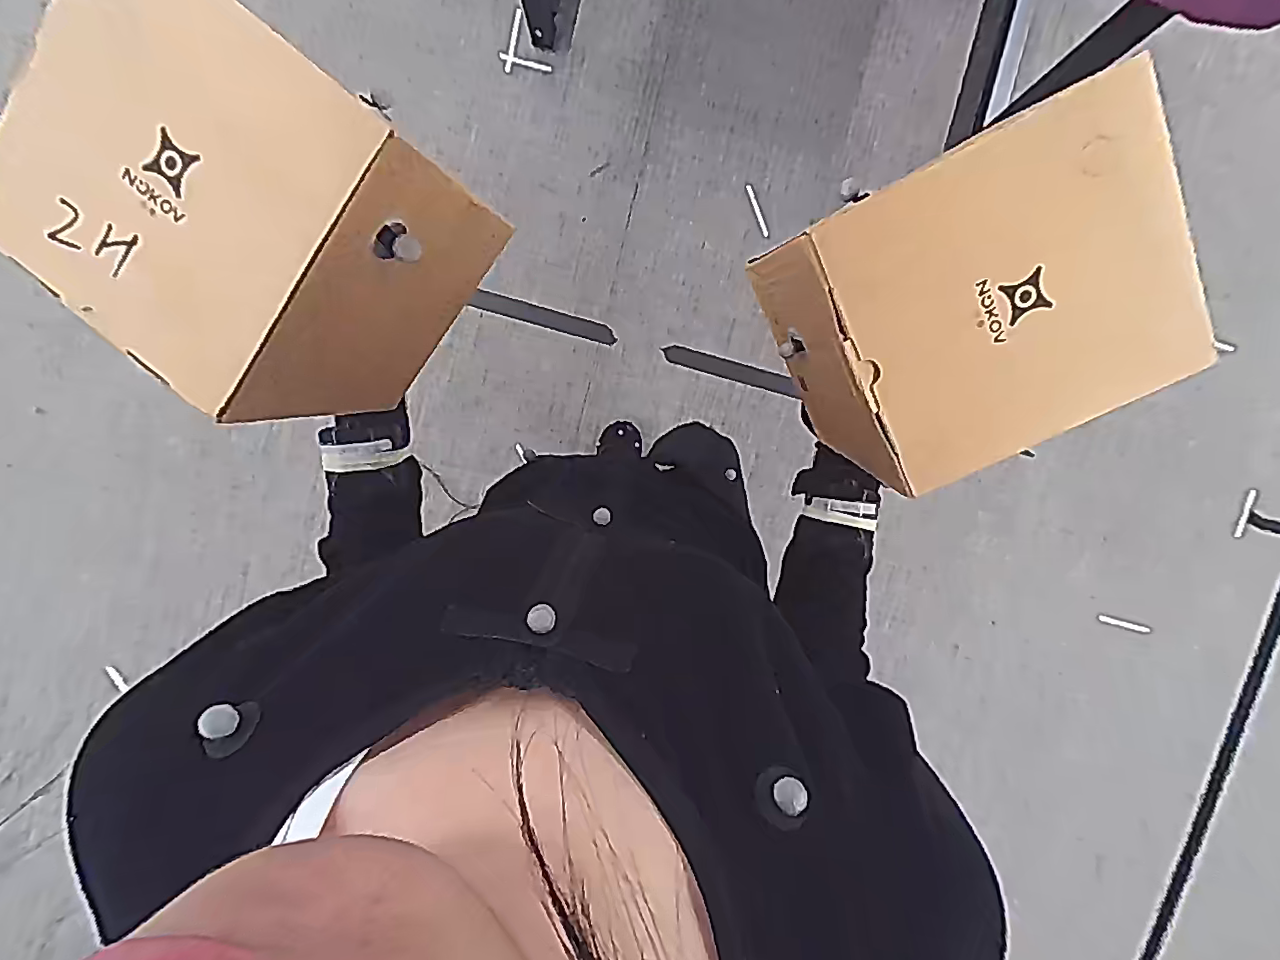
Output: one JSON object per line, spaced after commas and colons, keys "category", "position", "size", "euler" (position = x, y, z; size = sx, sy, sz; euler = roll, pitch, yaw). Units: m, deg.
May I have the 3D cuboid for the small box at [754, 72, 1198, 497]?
{"category": "small box", "position": [0.200, -0.118, 0.370], "size": [0.179, 0.176, 0.168], "euler": [-26, 105, 8]}

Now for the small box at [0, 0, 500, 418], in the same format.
{"category": "small box", "position": [-0.212, -0.161, 0.341], "size": [0.168, 0.176, 0.179], "euler": [39, 102, -1]}
